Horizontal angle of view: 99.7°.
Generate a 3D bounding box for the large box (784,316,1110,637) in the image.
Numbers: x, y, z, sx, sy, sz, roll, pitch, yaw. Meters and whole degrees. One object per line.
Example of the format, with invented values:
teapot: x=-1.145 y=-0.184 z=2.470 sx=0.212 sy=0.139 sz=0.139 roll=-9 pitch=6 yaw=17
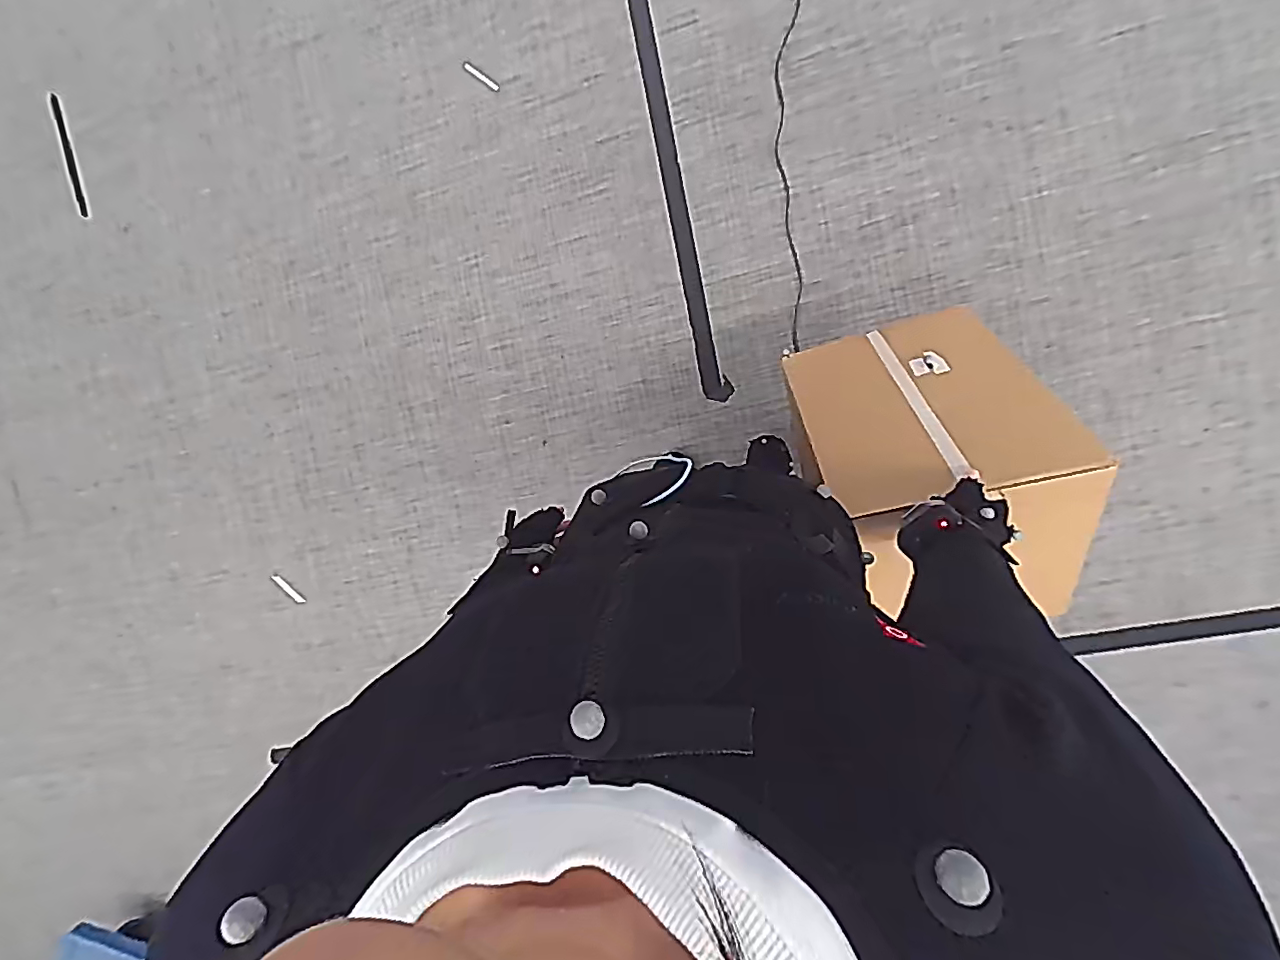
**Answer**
large box: x=0.454 y=-0.010 z=0.904 sx=0.320 sy=0.408 sz=0.320 roll=-12 pitch=130 yaw=11
